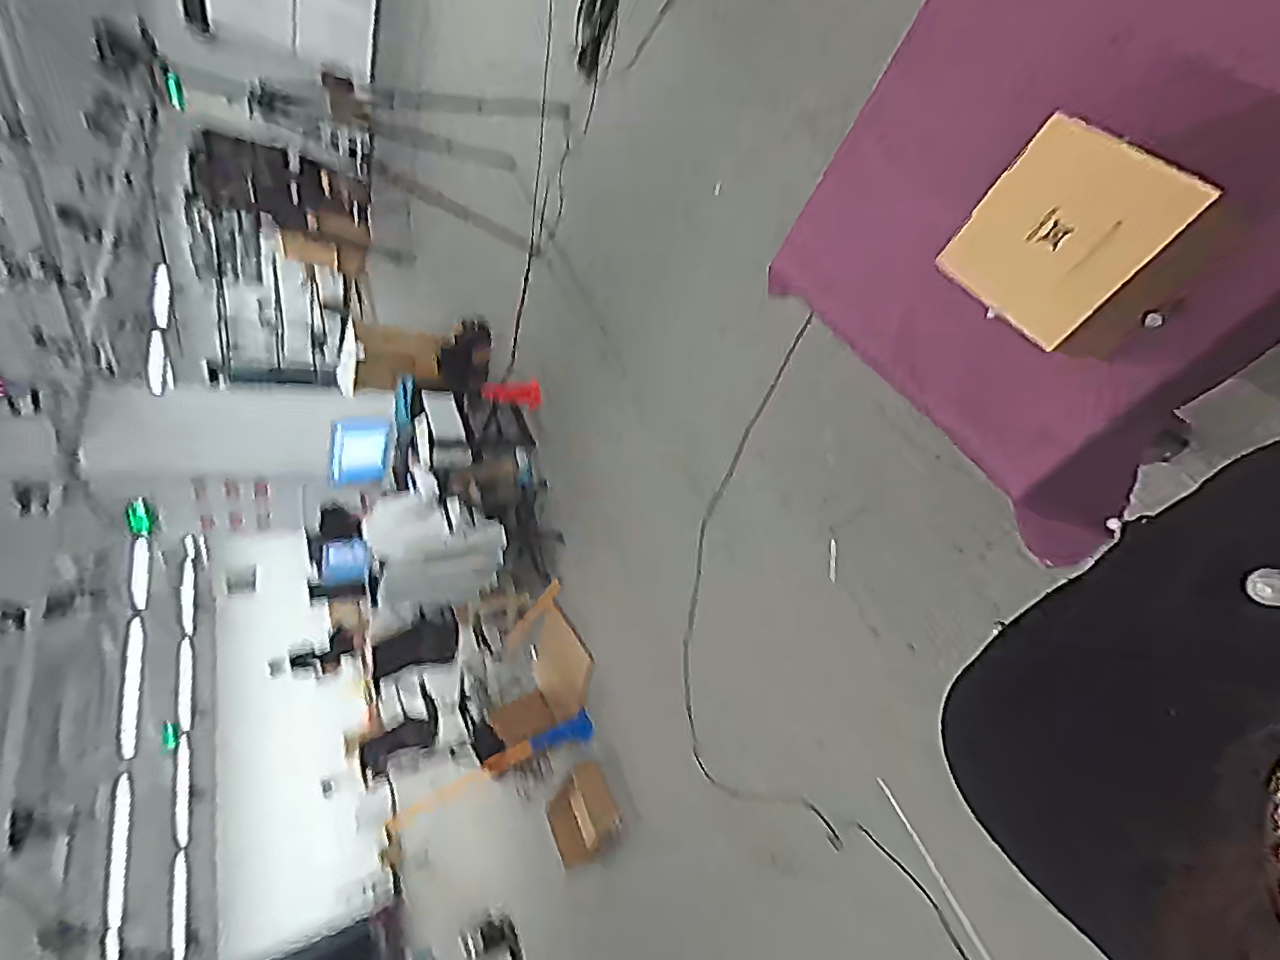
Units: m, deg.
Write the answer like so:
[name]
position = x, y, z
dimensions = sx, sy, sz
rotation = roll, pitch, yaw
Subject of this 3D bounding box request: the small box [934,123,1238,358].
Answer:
[small box]
position = 0.484, -0.251, 0.600
dimensions = 0.179, 0.176, 0.168
rotation = 61, 139, 32
